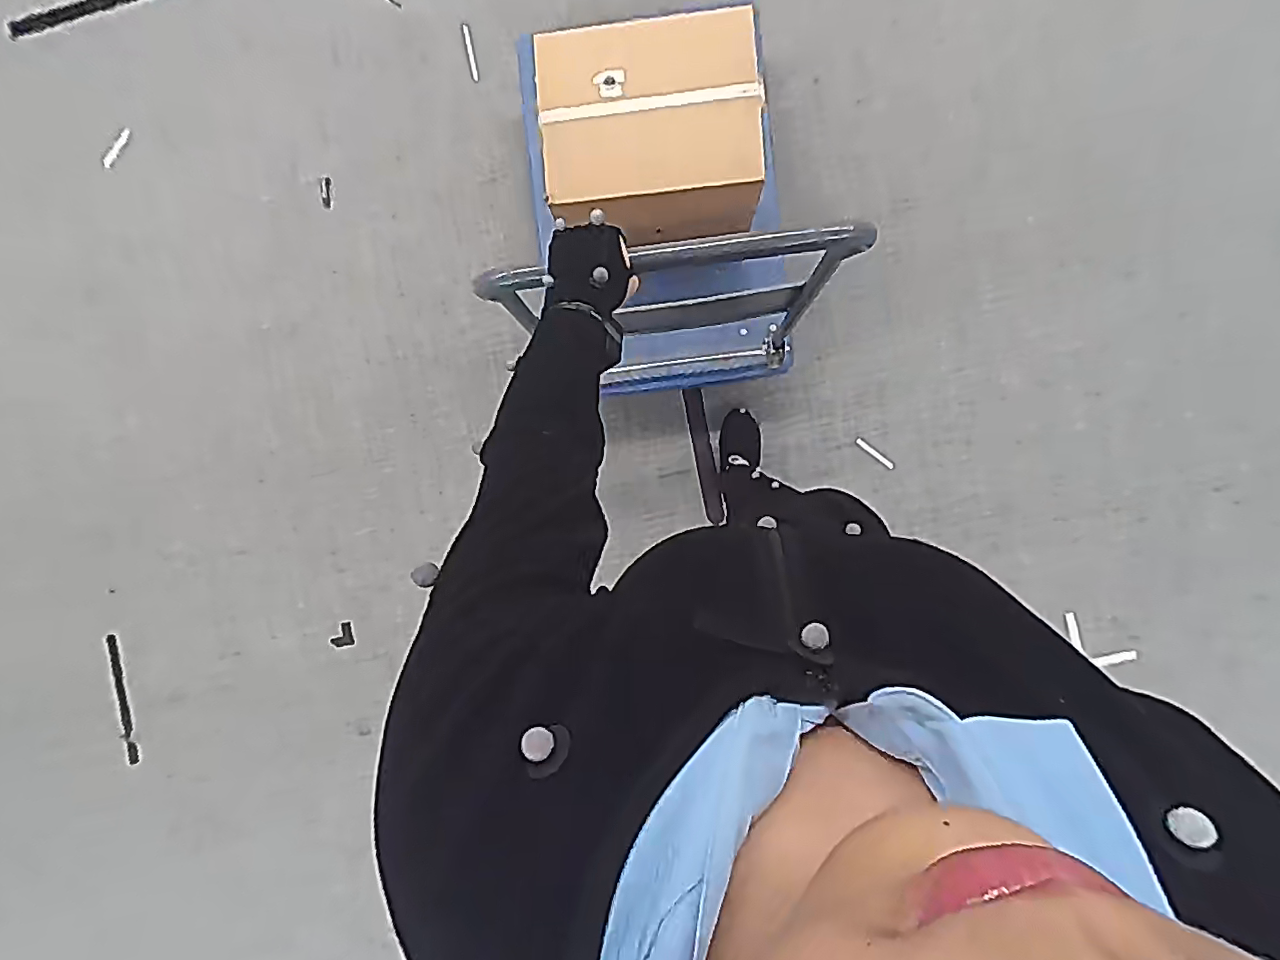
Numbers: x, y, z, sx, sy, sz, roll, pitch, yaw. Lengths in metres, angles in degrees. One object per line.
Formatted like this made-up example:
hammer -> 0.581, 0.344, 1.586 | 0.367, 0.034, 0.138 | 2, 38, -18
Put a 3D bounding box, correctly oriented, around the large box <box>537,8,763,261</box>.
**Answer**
large box -> 0.031, -0.692, 1.150 | 0.408, 0.320, 0.320 | -5, 91, 6
